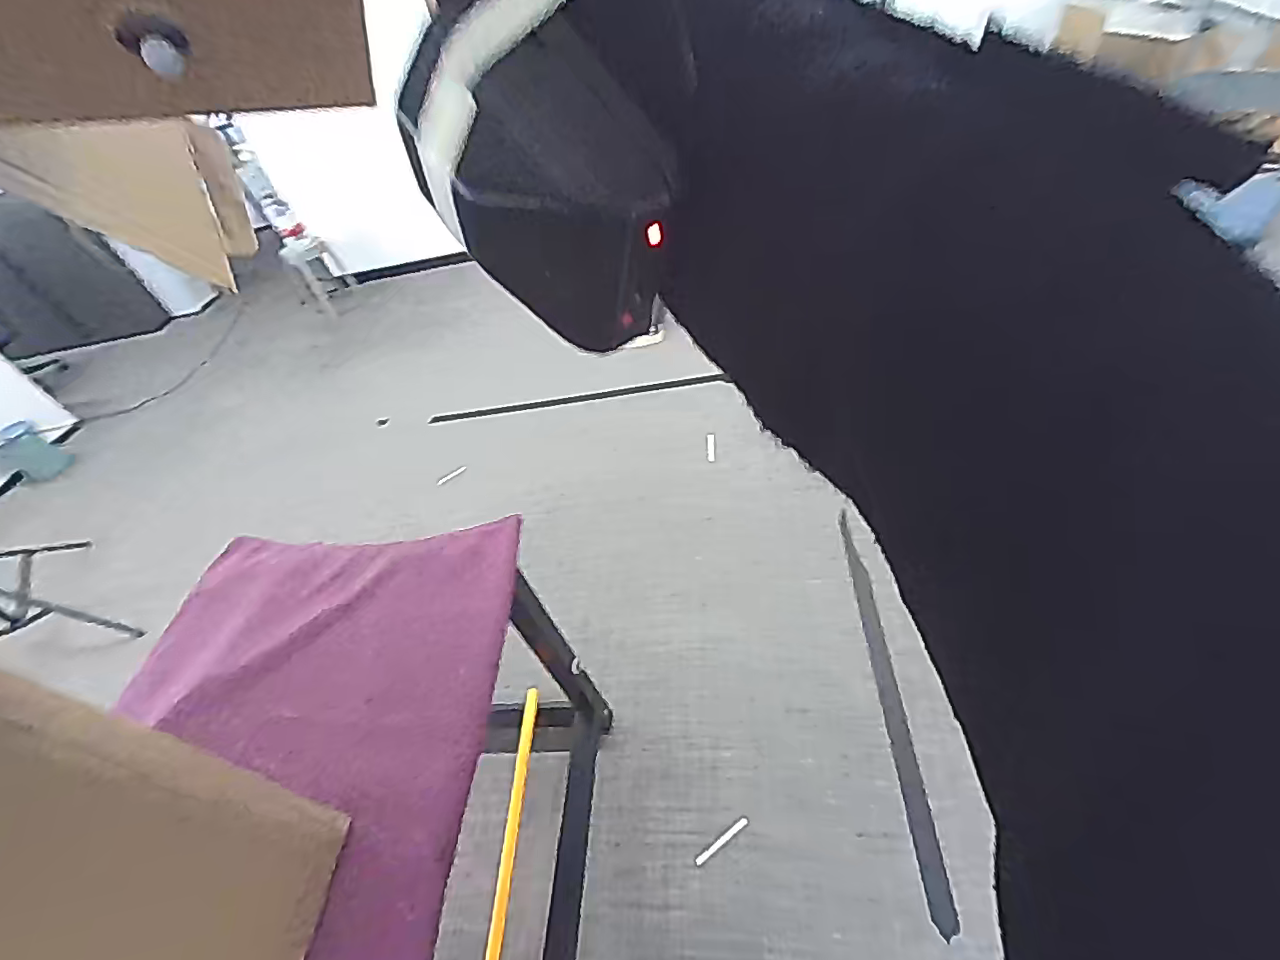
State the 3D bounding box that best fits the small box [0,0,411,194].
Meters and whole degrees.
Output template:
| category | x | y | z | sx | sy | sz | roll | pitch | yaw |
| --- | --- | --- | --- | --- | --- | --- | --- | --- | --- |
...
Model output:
| category | x | y | z | sx | sy | sz | roll | pitch | yaw |
| --- | --- | --- | --- | --- | --- | --- | --- | --- | --- |
| small box | -0.194 | -0.231 | 0.178 | 0.179 | 0.168 | 0.176 | -19 | -3 | -23 |
